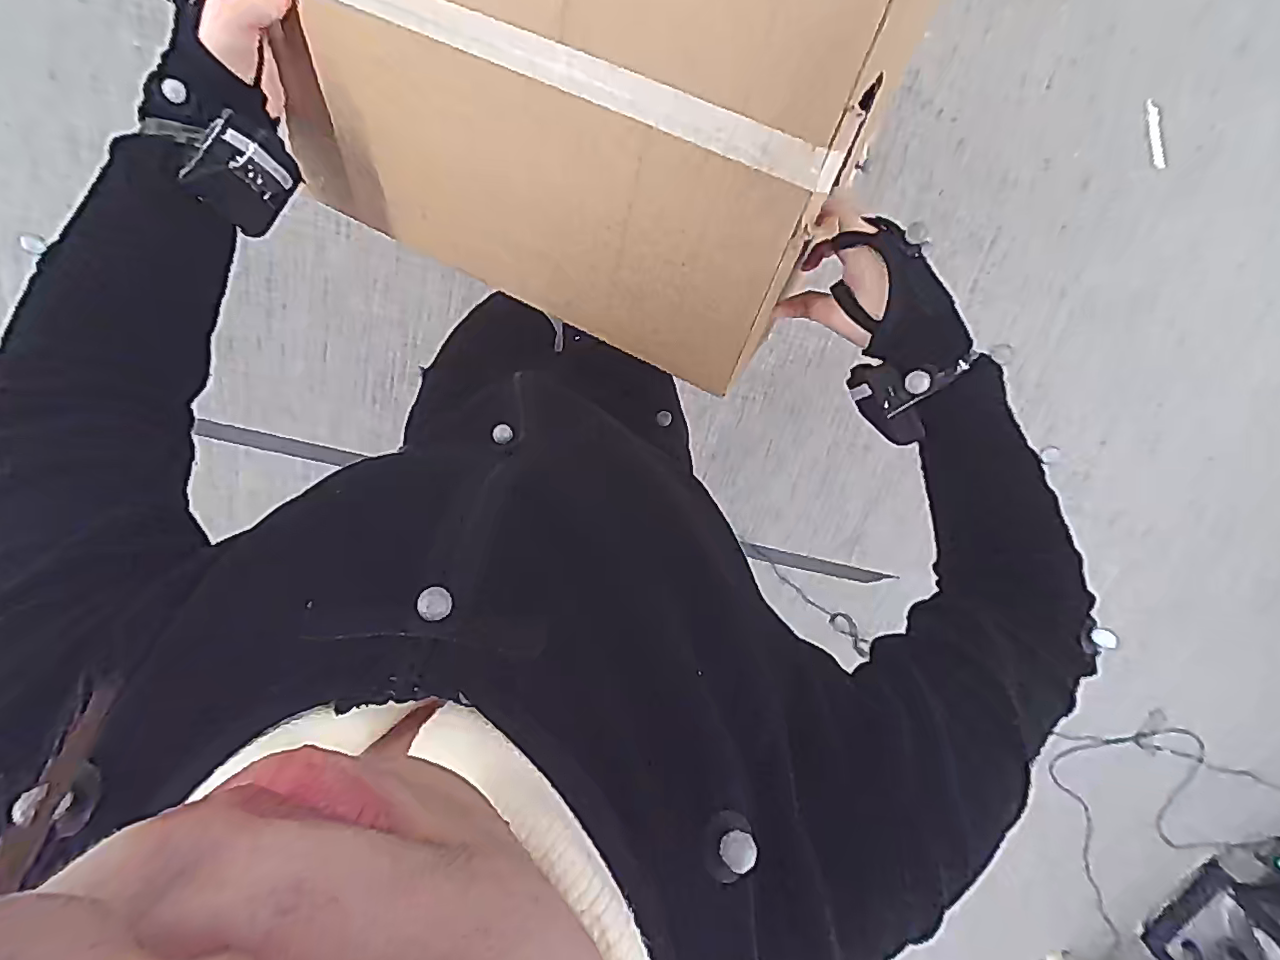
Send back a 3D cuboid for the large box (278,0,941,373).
[{"bbox_3d":[-0.003,-0.350,0.428,0.408,0.320,0.320,28,133,10],"label":"large box"}]
